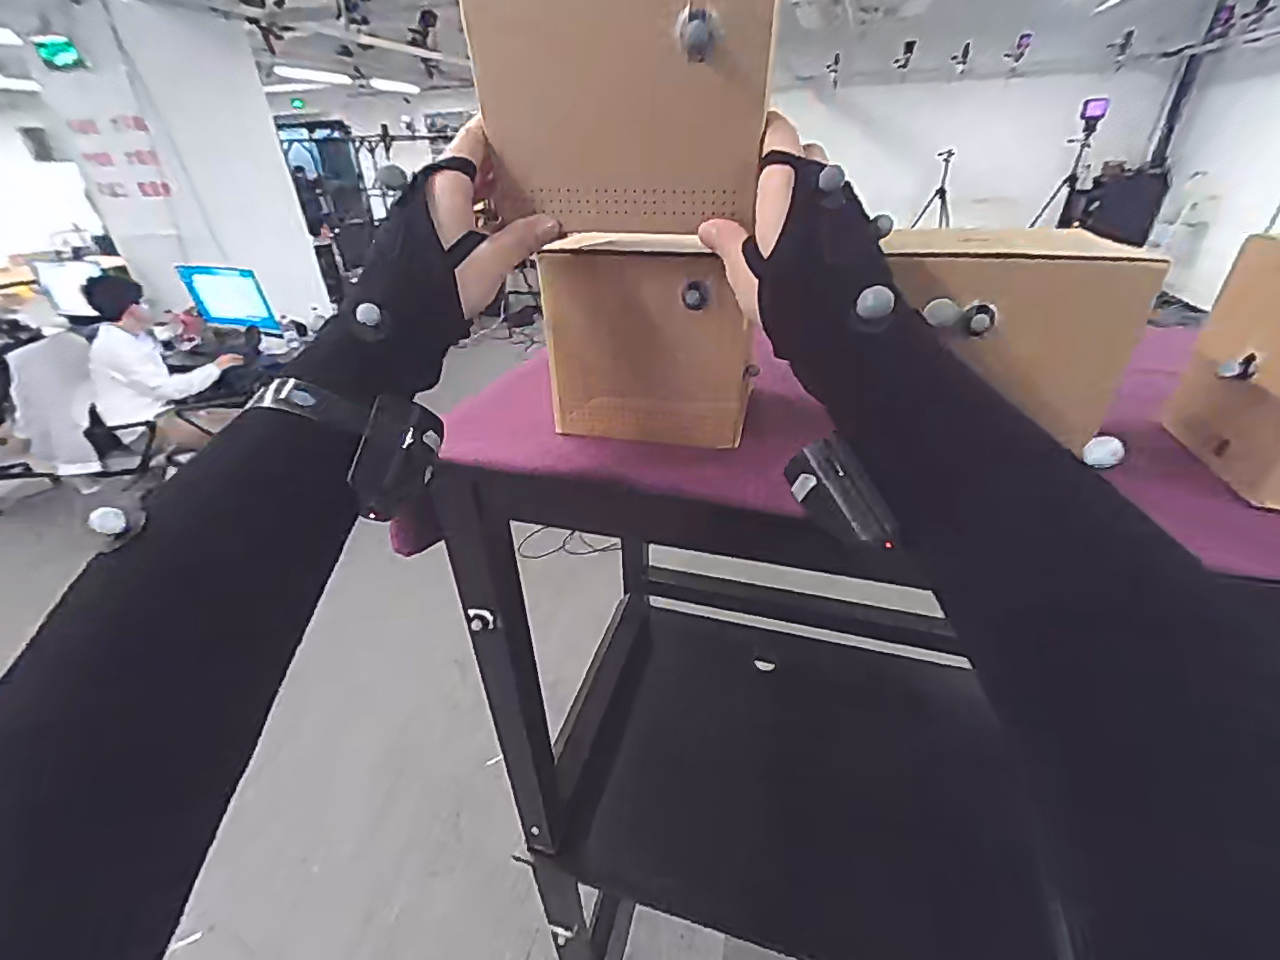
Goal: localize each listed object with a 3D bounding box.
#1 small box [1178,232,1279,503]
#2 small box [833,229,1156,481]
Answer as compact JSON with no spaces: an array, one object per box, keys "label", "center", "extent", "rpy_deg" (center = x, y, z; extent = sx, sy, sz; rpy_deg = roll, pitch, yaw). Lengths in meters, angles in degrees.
[{"label":"small box","center":[0.538,-0.078,0.380],"extent":[0.179,0.176,0.168],"rpy_deg":[7,32,19]},{"label":"small box","center":[0.267,-0.113,0.461],"extent":[0.179,0.176,0.168],"rpy_deg":[9,32,18]}]
